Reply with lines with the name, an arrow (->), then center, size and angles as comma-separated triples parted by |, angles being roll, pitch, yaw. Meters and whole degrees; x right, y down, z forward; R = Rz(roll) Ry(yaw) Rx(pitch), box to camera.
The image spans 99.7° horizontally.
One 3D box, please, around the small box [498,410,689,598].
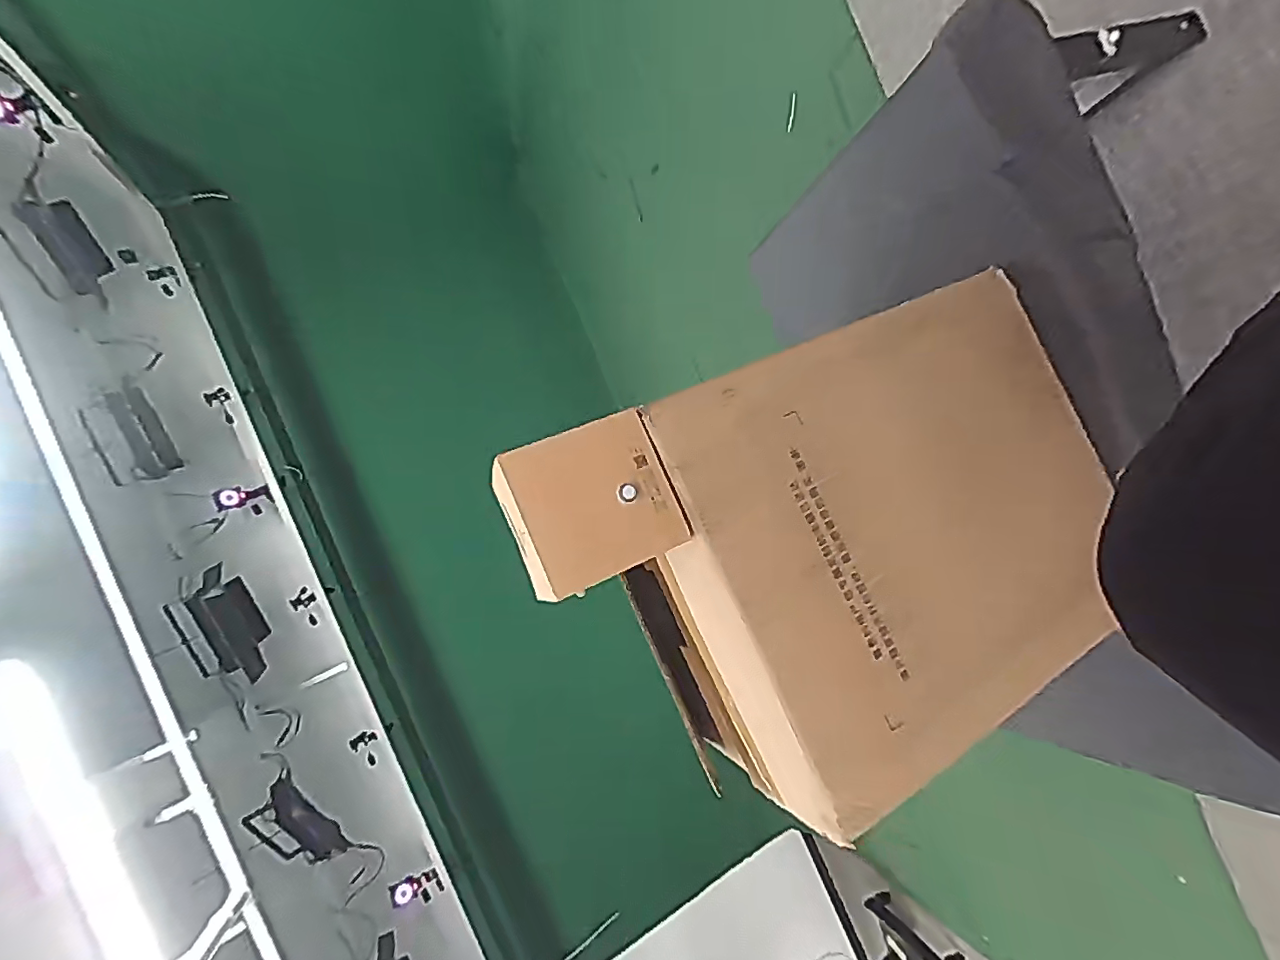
small box -> -0.063, 0.033, 0.668 | 0.168, 0.176, 0.179 | 66, 160, 3
